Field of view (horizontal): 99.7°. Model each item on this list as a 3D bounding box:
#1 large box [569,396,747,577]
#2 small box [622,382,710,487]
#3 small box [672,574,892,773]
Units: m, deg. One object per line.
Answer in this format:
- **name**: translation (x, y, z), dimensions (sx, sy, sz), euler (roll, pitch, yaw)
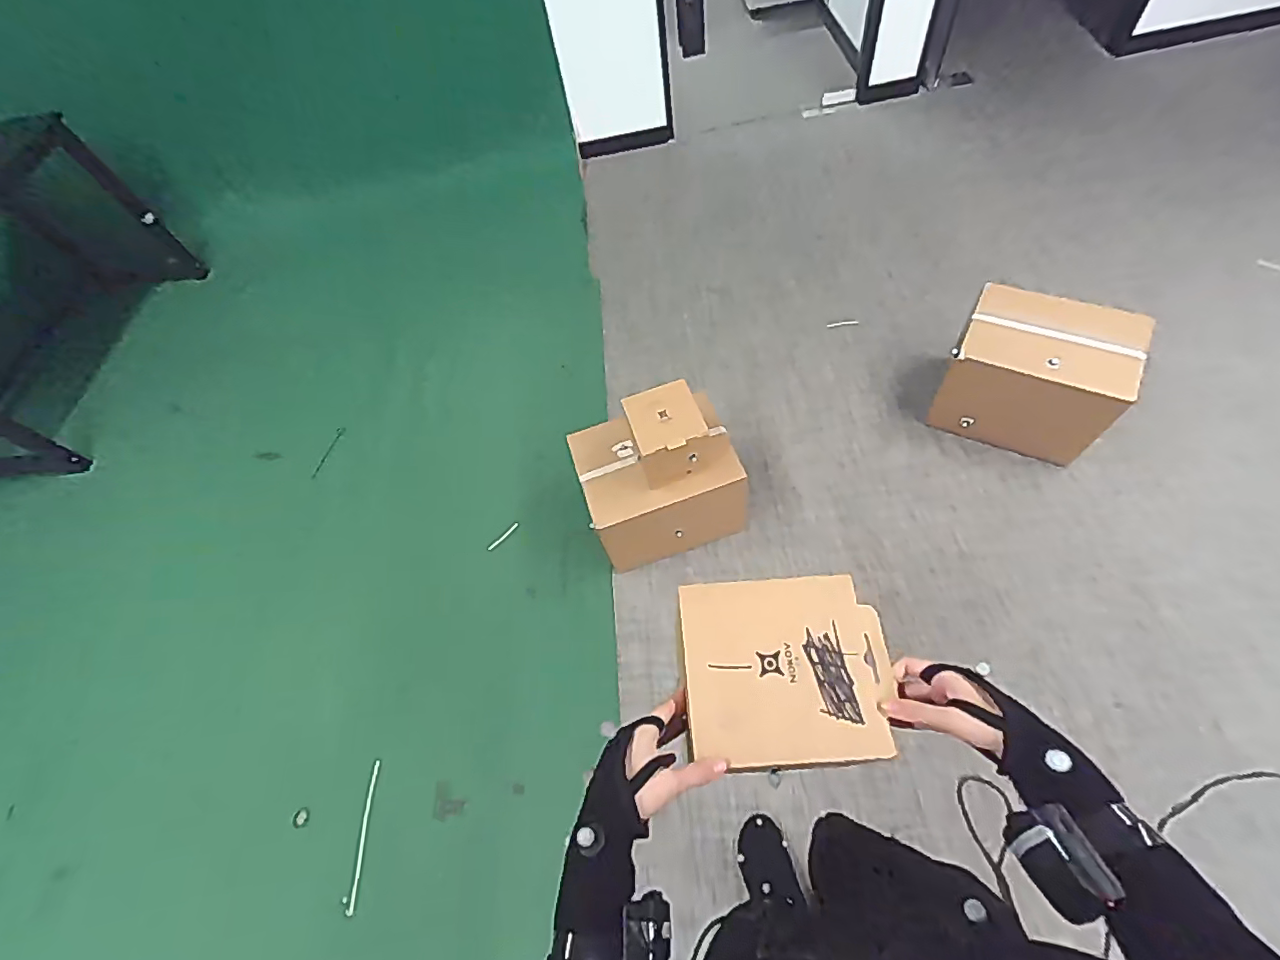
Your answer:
- **large box**: translation (0.059, 0.027, 1.541), dimensions (0.408, 0.320, 0.320), euler (-20, 57, -2)
- **small box**: translation (0.068, -0.103, 1.328), dimensions (0.168, 0.176, 0.179), euler (-19, 58, -3)
- **small box**: translation (0.127, 0.207, 0.564), dimensions (0.179, 0.176, 0.168), euler (-4, 59, 1)
